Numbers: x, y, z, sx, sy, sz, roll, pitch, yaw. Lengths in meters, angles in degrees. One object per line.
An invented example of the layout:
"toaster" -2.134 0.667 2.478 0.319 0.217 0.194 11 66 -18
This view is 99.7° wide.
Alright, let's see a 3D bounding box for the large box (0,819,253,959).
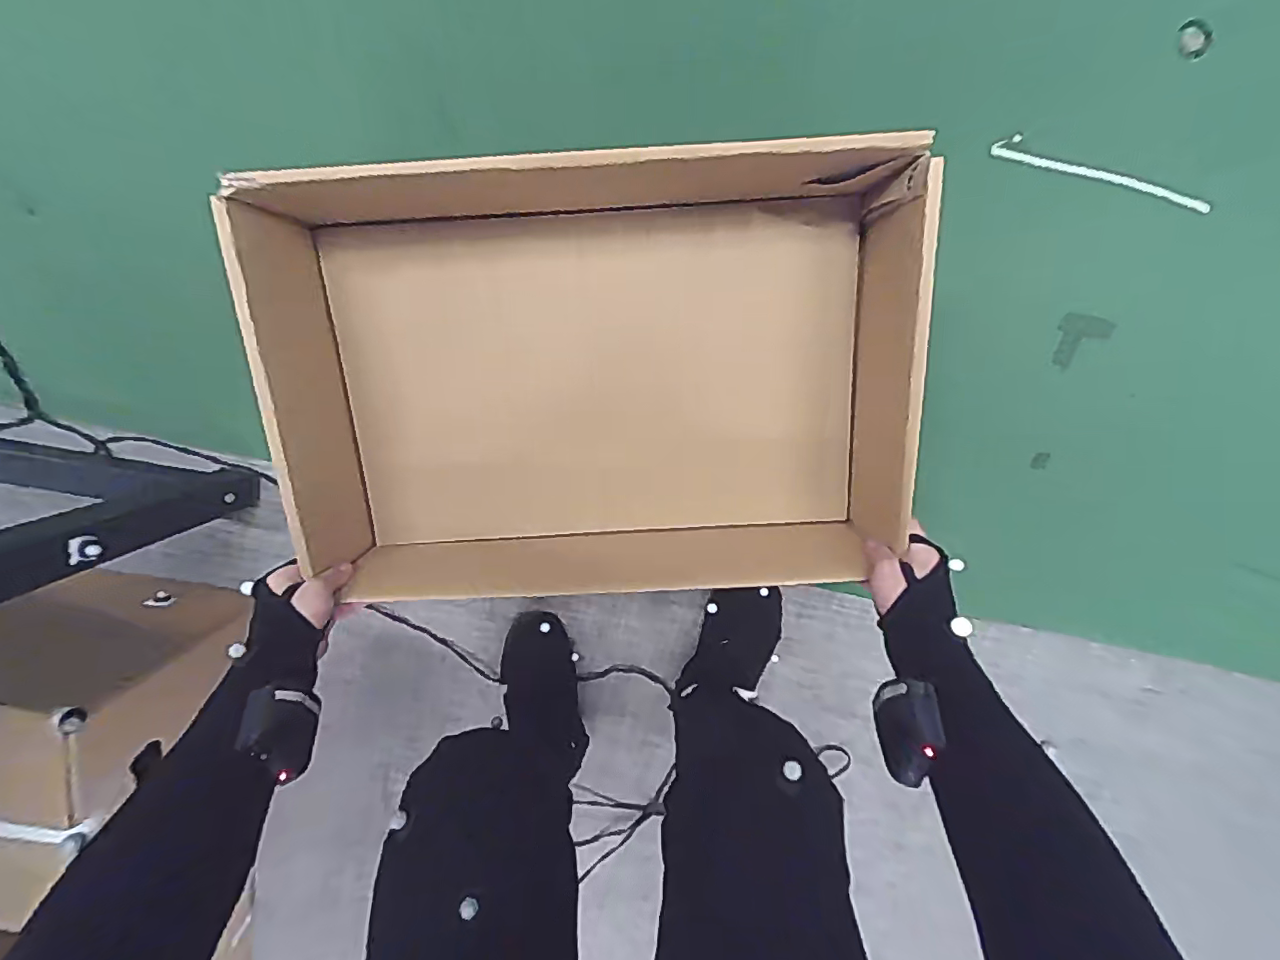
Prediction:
"large box" -0.917 0.812 0.855 0.408 0.320 0.320 12 101 -1
